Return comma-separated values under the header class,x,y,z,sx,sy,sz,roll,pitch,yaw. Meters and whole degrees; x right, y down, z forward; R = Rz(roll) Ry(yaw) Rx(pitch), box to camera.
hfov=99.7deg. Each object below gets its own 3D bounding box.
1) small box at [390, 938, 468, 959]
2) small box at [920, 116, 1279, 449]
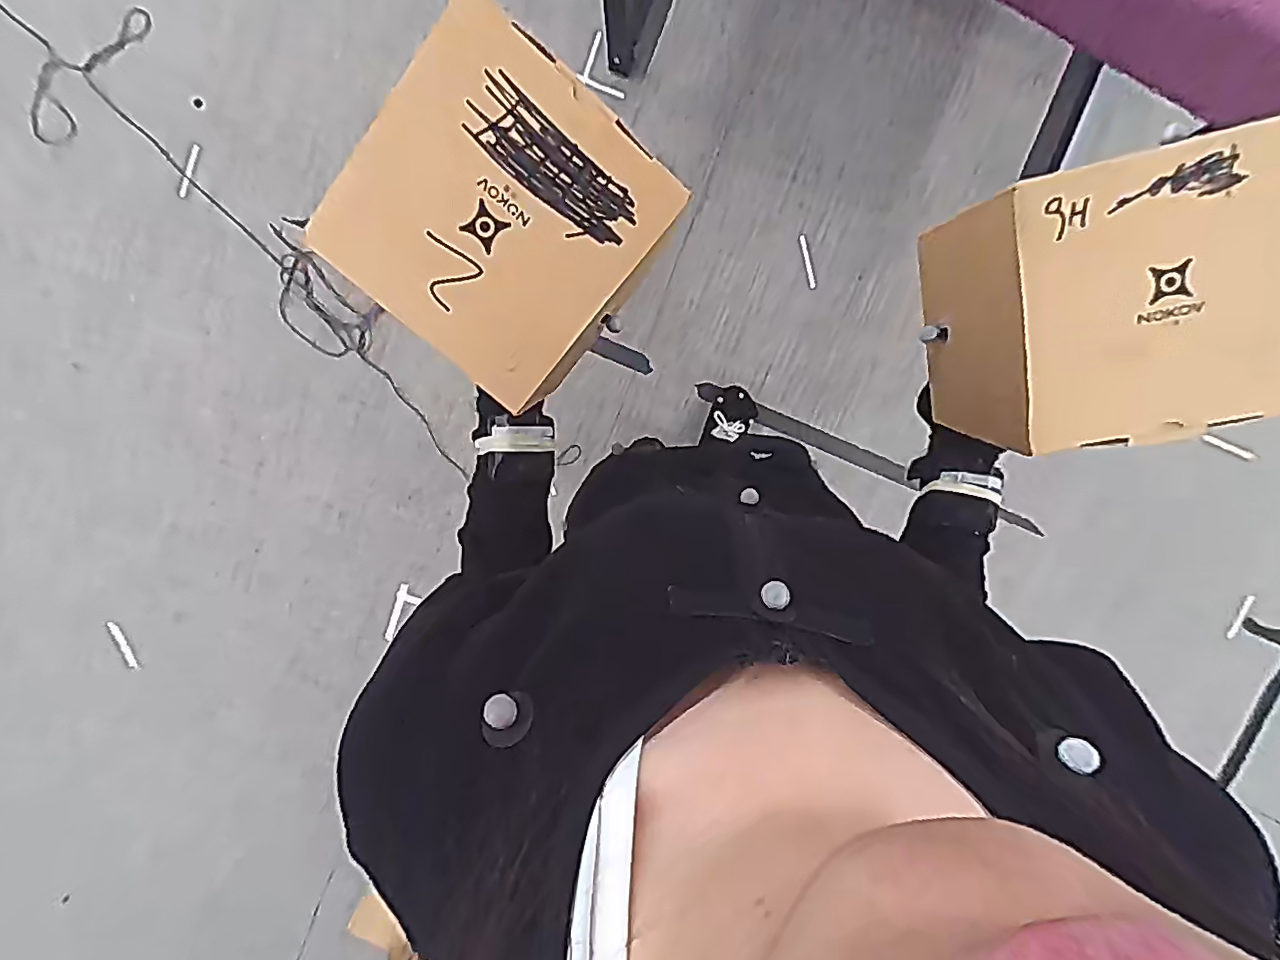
class,x,y,z,sx,sy,sz,roll,pitch,yaw
small box,-0.445,1.063,1.064,0.168,0.176,0.179,15,97,-1
small box,0.335,-0.137,0.414,0.168,0.176,0.179,-10,104,10
